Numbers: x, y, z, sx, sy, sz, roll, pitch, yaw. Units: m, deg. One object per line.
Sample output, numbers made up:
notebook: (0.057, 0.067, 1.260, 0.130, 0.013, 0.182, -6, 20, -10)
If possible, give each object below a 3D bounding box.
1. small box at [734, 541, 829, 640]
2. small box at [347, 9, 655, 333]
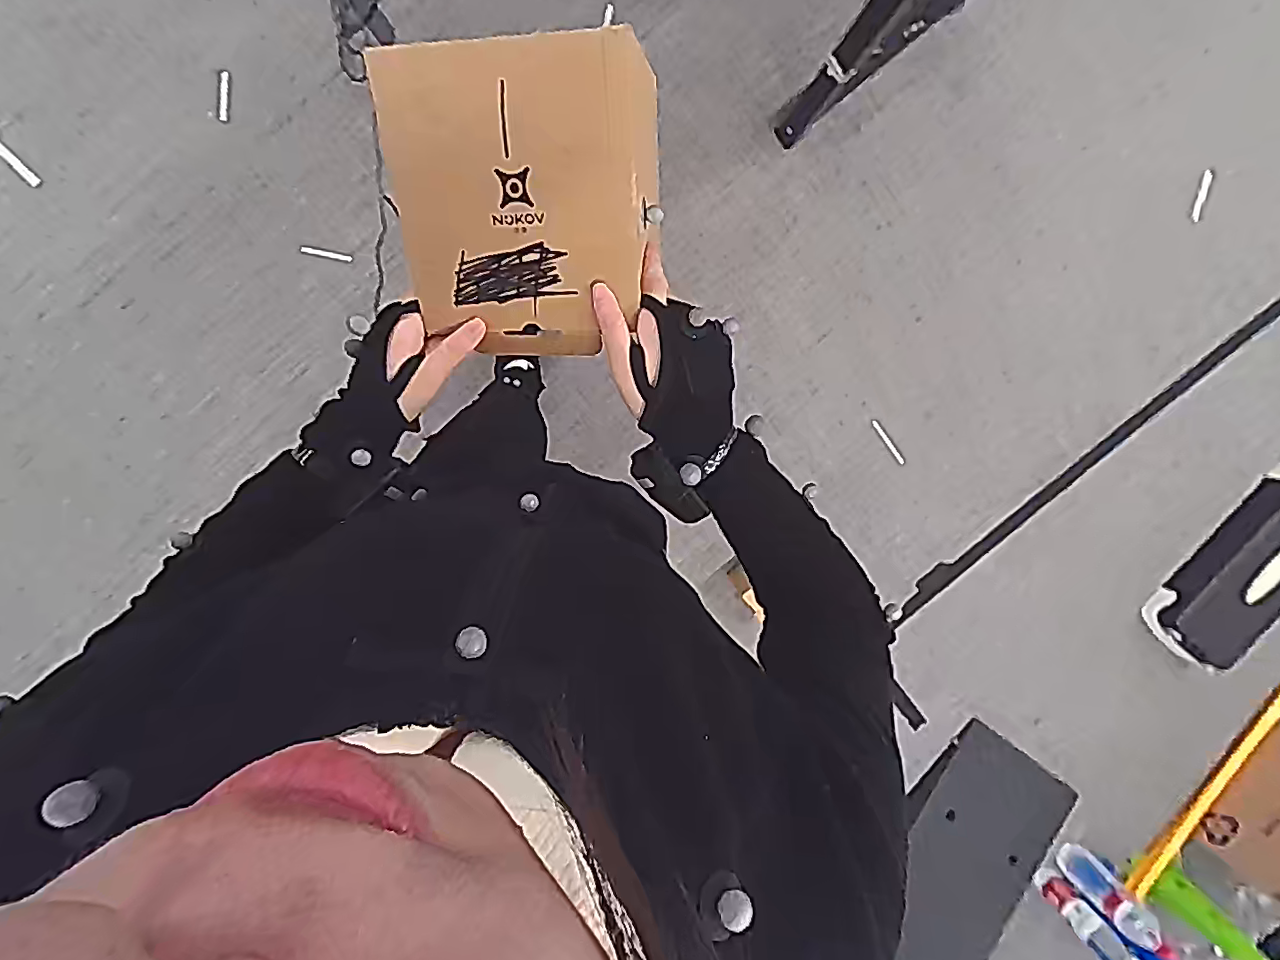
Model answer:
small box: (0.374, 0.294, 1.474, 0.179, 0.176, 0.168, -39, 100, 4)
small box: (-0.078, -0.221, 0.415, 0.168, 0.176, 0.179, 0, 118, 7)
